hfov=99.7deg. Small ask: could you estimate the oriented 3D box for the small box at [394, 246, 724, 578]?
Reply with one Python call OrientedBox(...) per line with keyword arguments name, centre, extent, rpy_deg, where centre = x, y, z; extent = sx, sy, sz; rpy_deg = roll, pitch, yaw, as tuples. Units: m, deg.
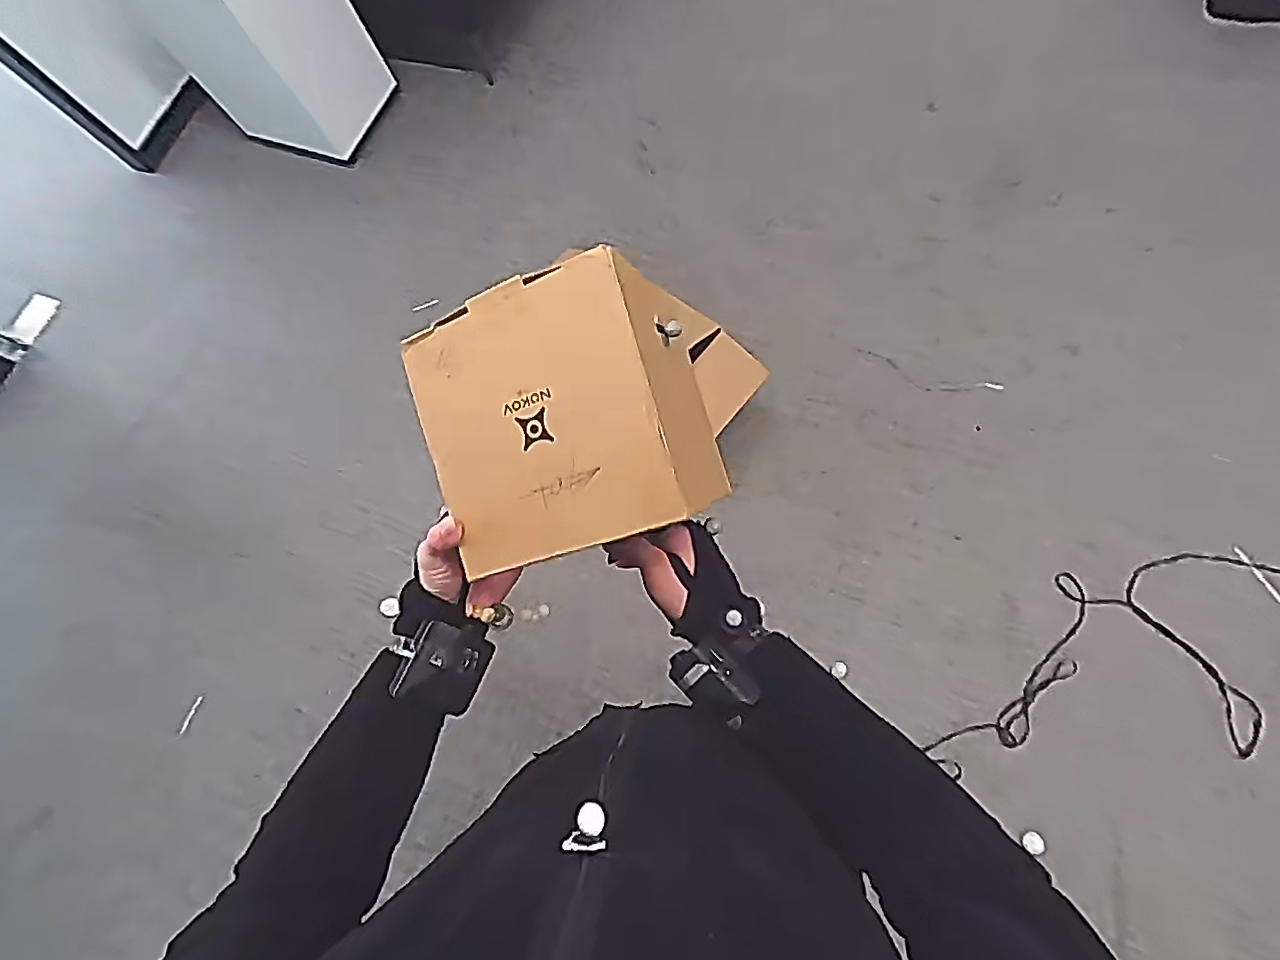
OrientedBox(name="small box", centre=(-0.046, -0.040, 0.411), extent=(0.168, 0.176, 0.179), rpy_deg=(-15, 89, 20))
